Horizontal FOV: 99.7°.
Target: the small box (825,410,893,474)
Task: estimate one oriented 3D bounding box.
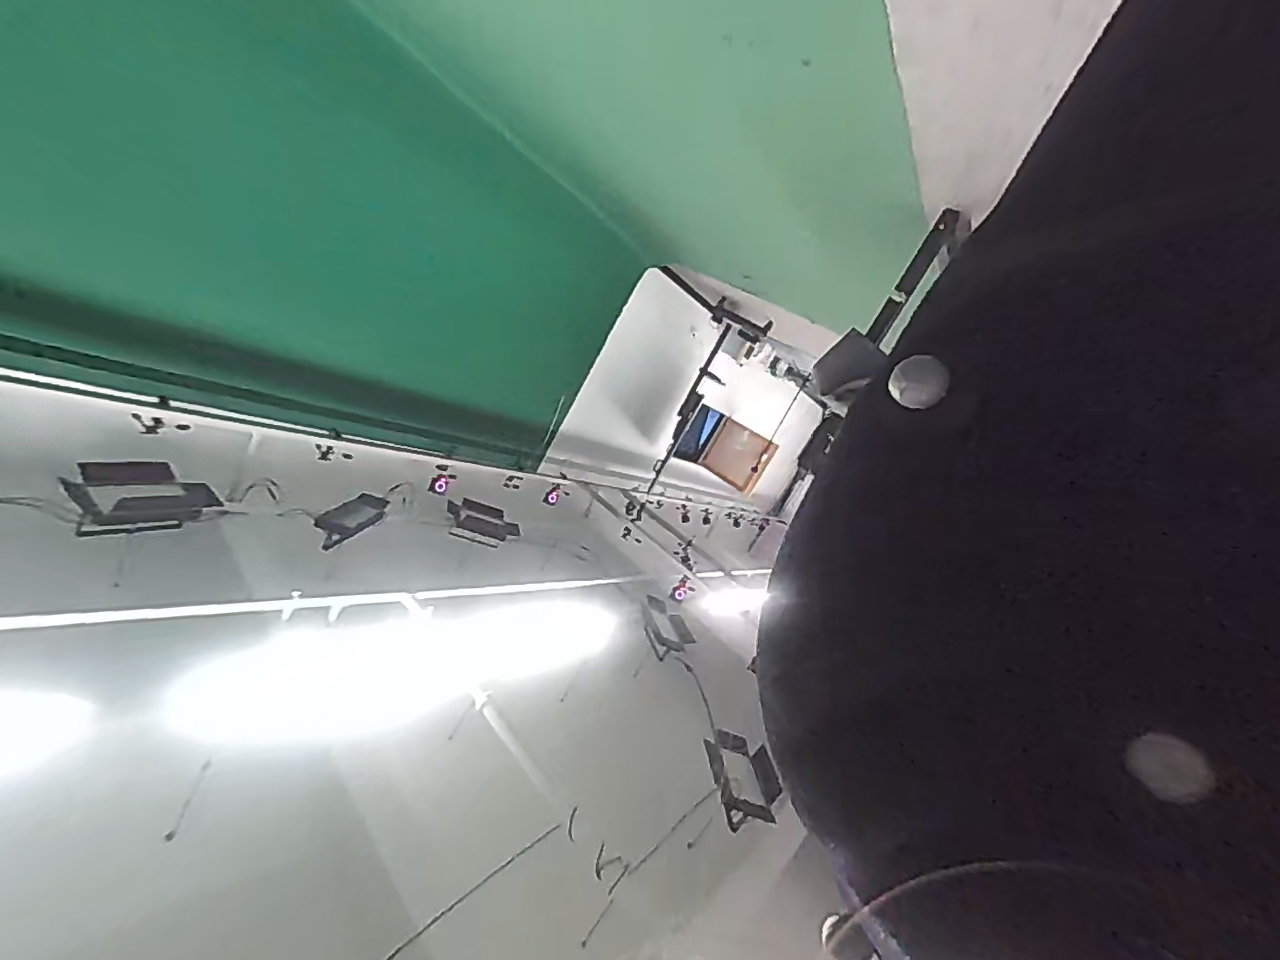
[{"bbox_3d":[0.823,-0.143,2.018,0.179,0.176,0.168,36,-168,25],"label":"small box"}]
